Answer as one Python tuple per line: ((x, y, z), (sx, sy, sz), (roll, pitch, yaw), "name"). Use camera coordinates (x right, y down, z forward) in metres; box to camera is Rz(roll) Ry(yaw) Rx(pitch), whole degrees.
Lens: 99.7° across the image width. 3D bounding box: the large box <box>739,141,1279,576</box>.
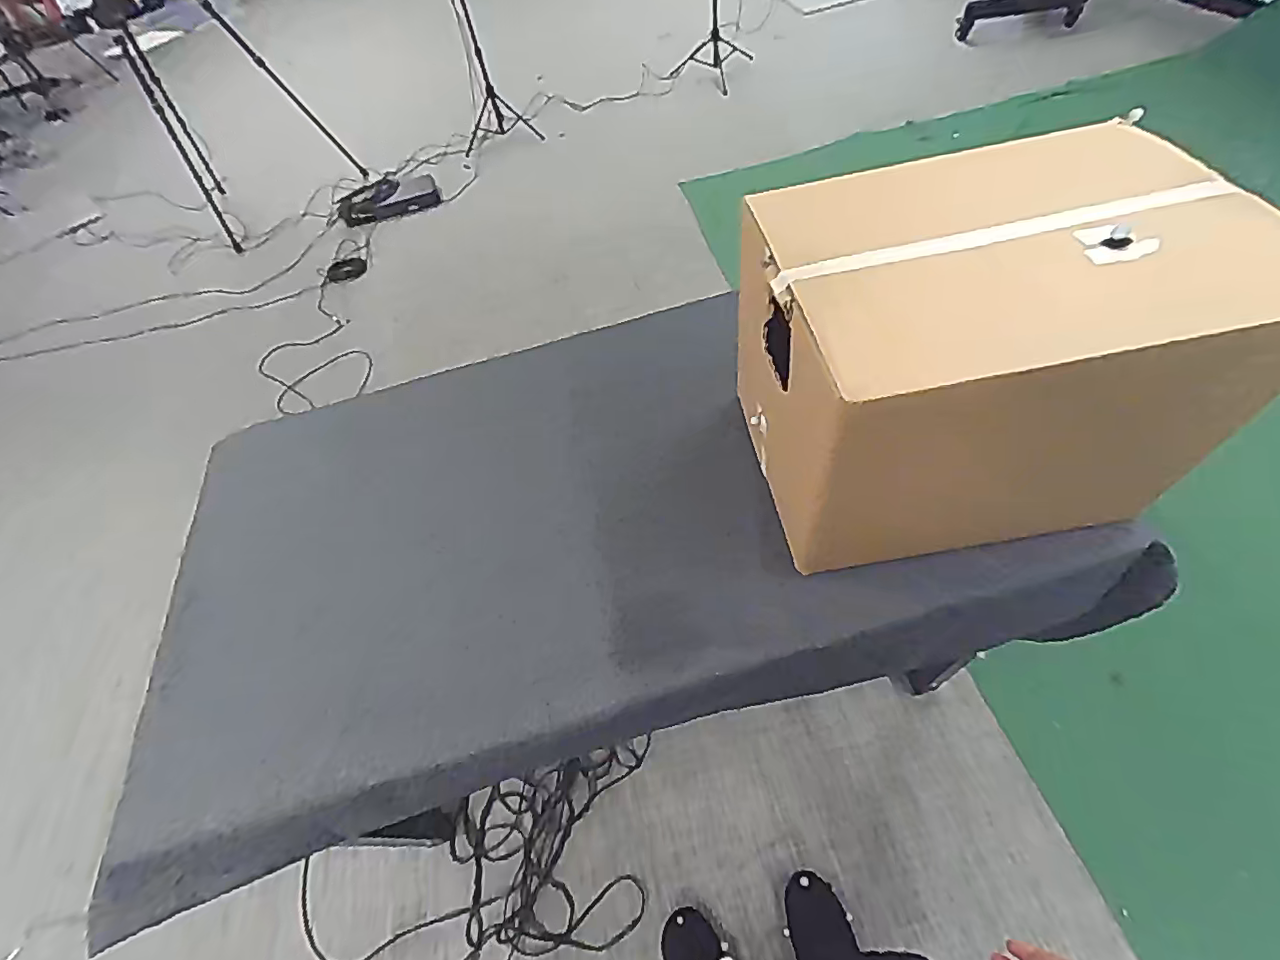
((0.348, -0.123, 0.615), (0.408, 0.320, 0.320), (-10, 54, 1), "large box")
